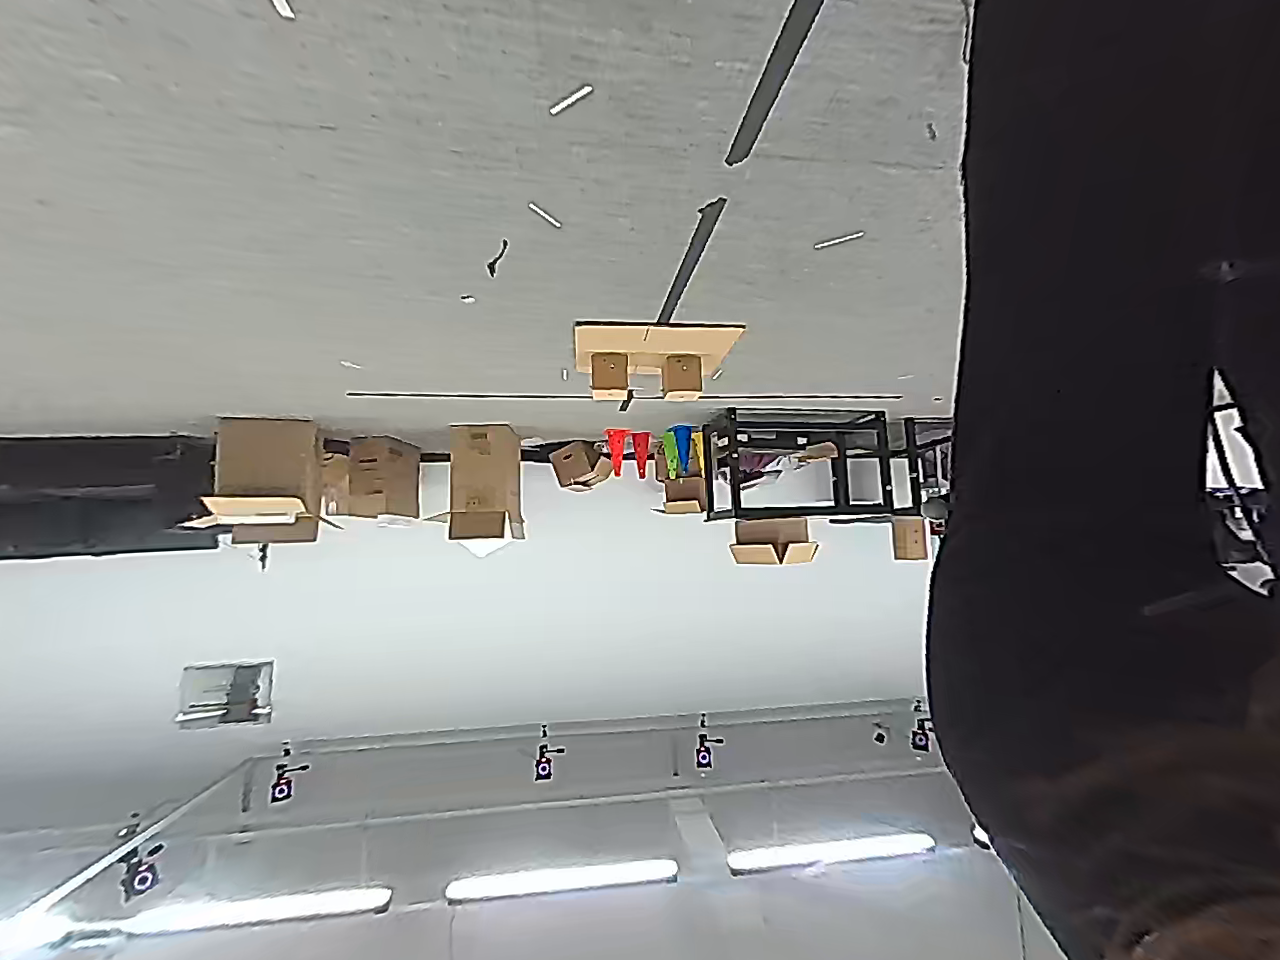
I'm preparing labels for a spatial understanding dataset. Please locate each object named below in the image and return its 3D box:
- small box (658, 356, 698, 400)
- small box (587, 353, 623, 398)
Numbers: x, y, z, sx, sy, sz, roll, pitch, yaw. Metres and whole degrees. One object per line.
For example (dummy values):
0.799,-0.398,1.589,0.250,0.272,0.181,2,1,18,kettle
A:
0.179,-0.488,2.592,0.168,0.176,0.179,-2,173,-7,small box
-0.163,-0.490,2.549,0.168,0.176,0.179,-1,173,-3,small box
